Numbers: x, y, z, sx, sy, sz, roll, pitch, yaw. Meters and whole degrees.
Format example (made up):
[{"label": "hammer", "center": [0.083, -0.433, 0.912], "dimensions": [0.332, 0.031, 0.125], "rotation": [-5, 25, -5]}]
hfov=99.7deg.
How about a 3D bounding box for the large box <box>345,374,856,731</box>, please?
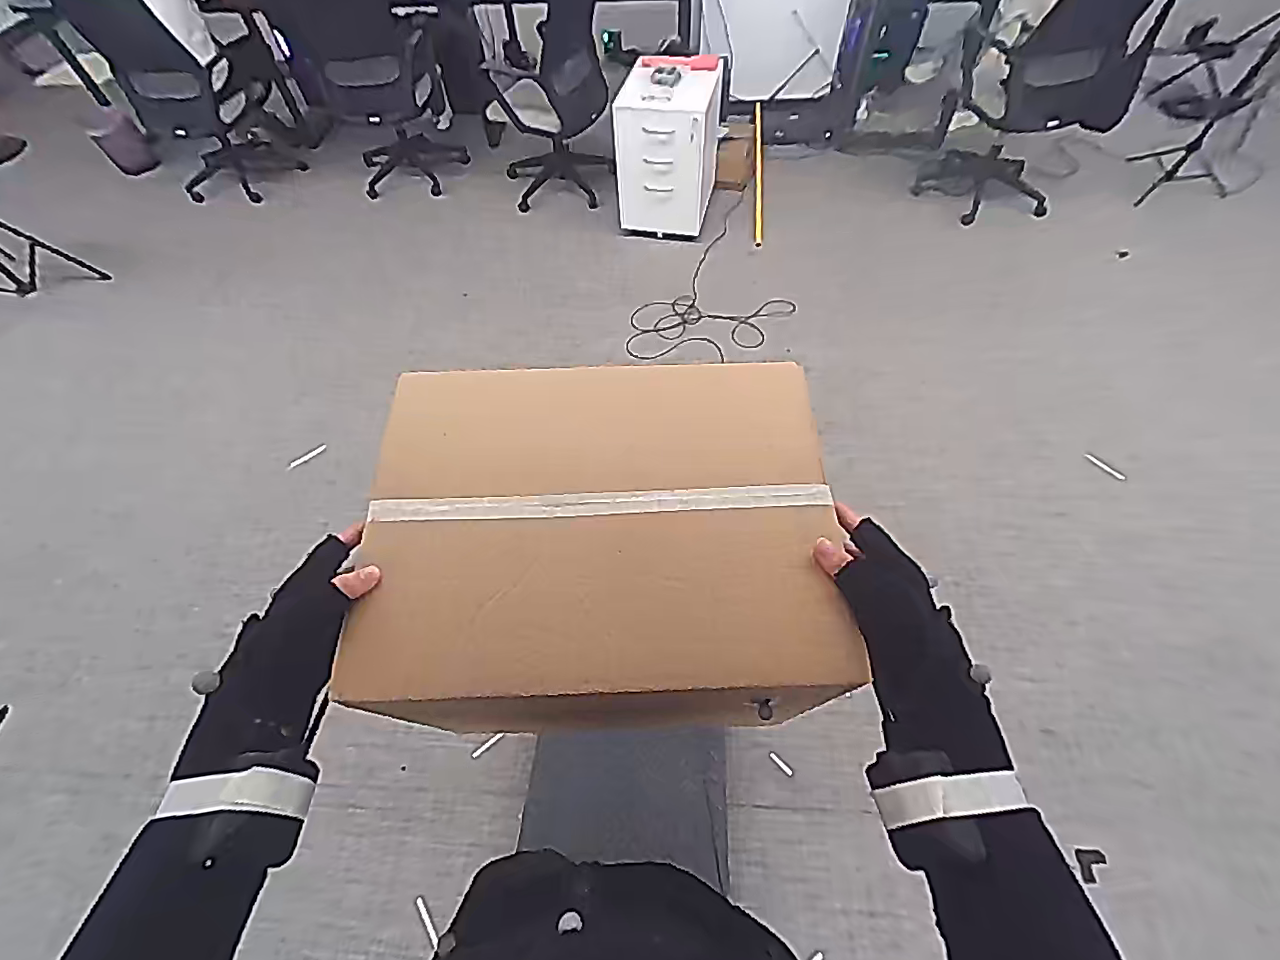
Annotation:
[{"label": "large box", "center": [-0.033, 0.102, 0.616], "dimensions": [0.408, 0.320, 0.320], "rotation": [-1, 60, -1]}]
